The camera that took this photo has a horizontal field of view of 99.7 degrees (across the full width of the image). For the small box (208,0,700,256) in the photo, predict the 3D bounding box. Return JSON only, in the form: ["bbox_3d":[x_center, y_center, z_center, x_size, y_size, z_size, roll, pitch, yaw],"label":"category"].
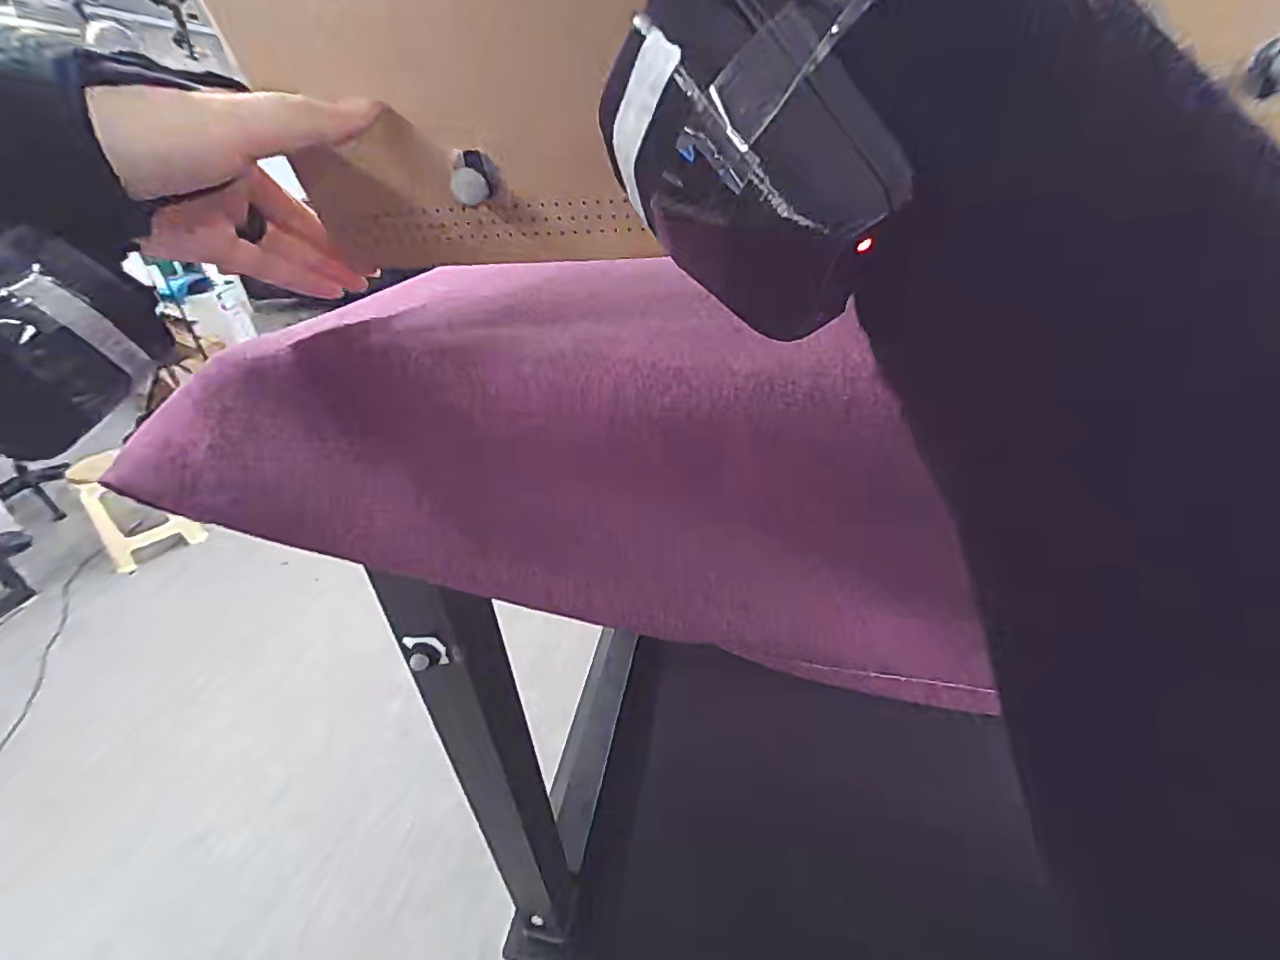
[{"bbox_3d":[-0.064,-0.221,0.252,0.179,0.176,0.168,2,47,10],"label":"small box"}]
